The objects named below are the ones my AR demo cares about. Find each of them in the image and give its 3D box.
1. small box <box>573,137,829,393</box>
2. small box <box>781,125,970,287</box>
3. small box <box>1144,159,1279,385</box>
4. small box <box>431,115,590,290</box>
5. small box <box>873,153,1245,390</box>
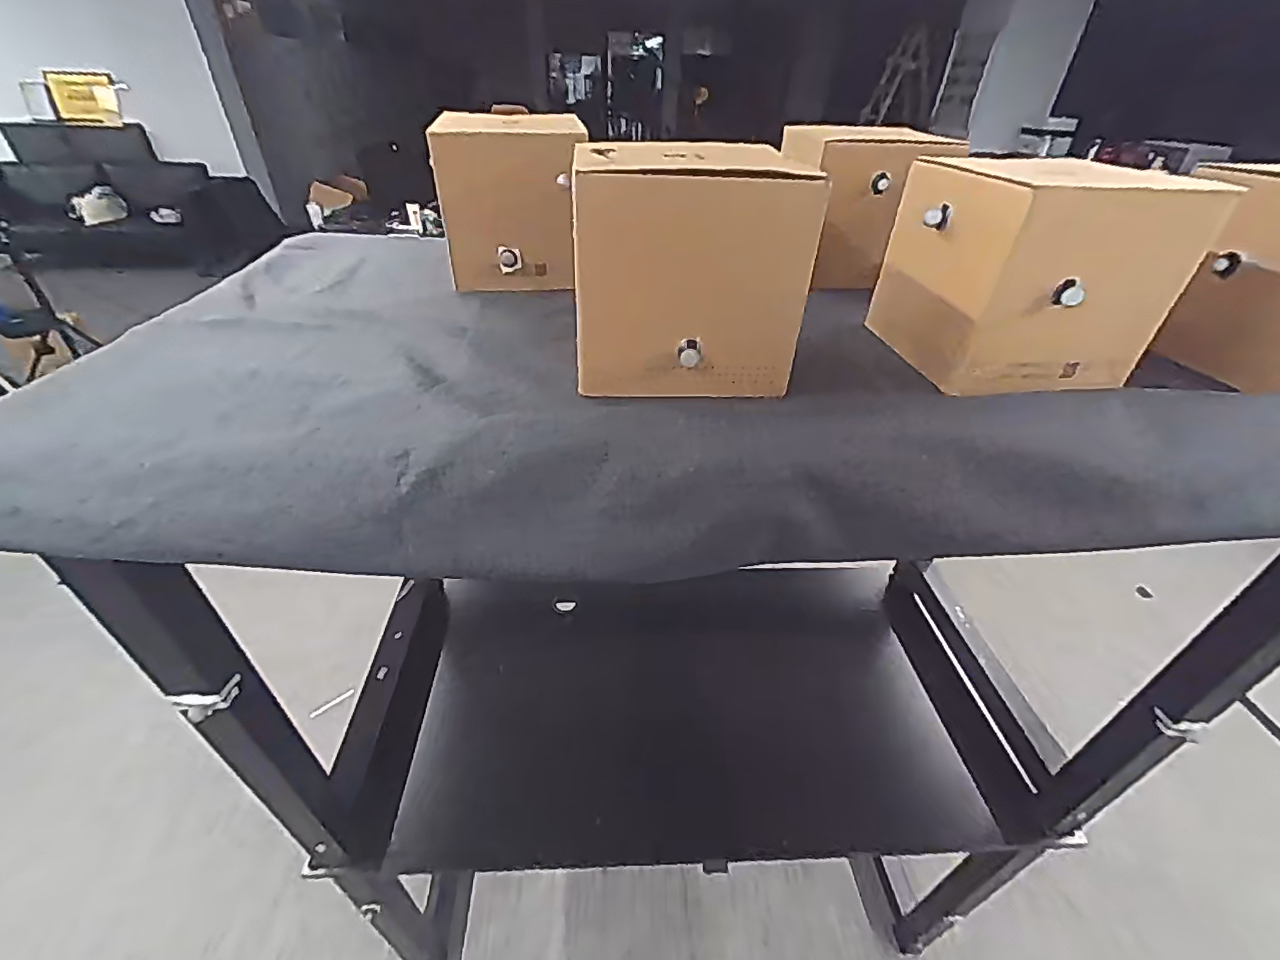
[{"bbox_3d":[0.033,-0.184,0.467,0.179,0.176,0.168,-1,36,-5],"label":"small box"},{"bbox_3d":[0.283,-0.363,0.715,0.179,0.176,0.168,0,38,-3],"label":"small box"},{"bbox_3d":[0.617,-0.191,0.501,0.168,0.176,0.179,-4,36,-7],"label":"small box"},{"bbox_3d":[-0.148,-0.346,0.671,0.168,0.176,0.179,-5,38,-8],"label":"small box"},{"bbox_3d":[0.342,-0.190,0.491,0.168,0.176,0.179,-2,36,-5],"label":"small box"}]
